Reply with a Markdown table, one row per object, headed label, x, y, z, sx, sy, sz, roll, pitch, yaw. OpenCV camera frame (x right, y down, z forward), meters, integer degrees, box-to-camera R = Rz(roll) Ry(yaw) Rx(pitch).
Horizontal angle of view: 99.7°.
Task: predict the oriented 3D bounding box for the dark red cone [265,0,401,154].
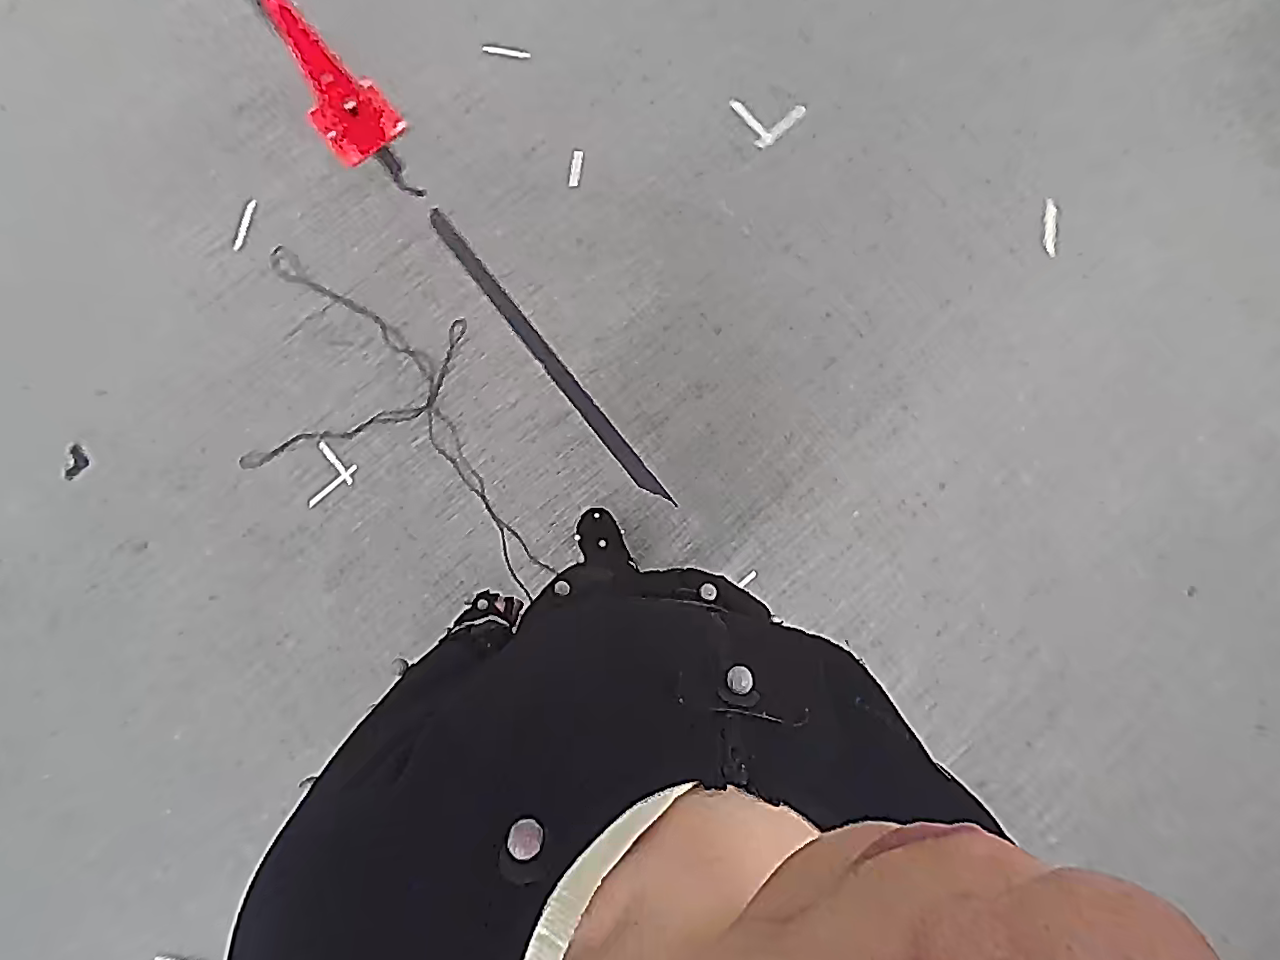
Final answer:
| label | x | y | z | sx | sy | sz | roll | pitch | yaw |
| --- | --- | --- | --- | --- | --- | --- | --- | --- | --- |
| dark red cone | -0.762 | -1.001 | 1.280 | 0.201 | 0.394 | 0.202 | -39 | 87 | -3 |
